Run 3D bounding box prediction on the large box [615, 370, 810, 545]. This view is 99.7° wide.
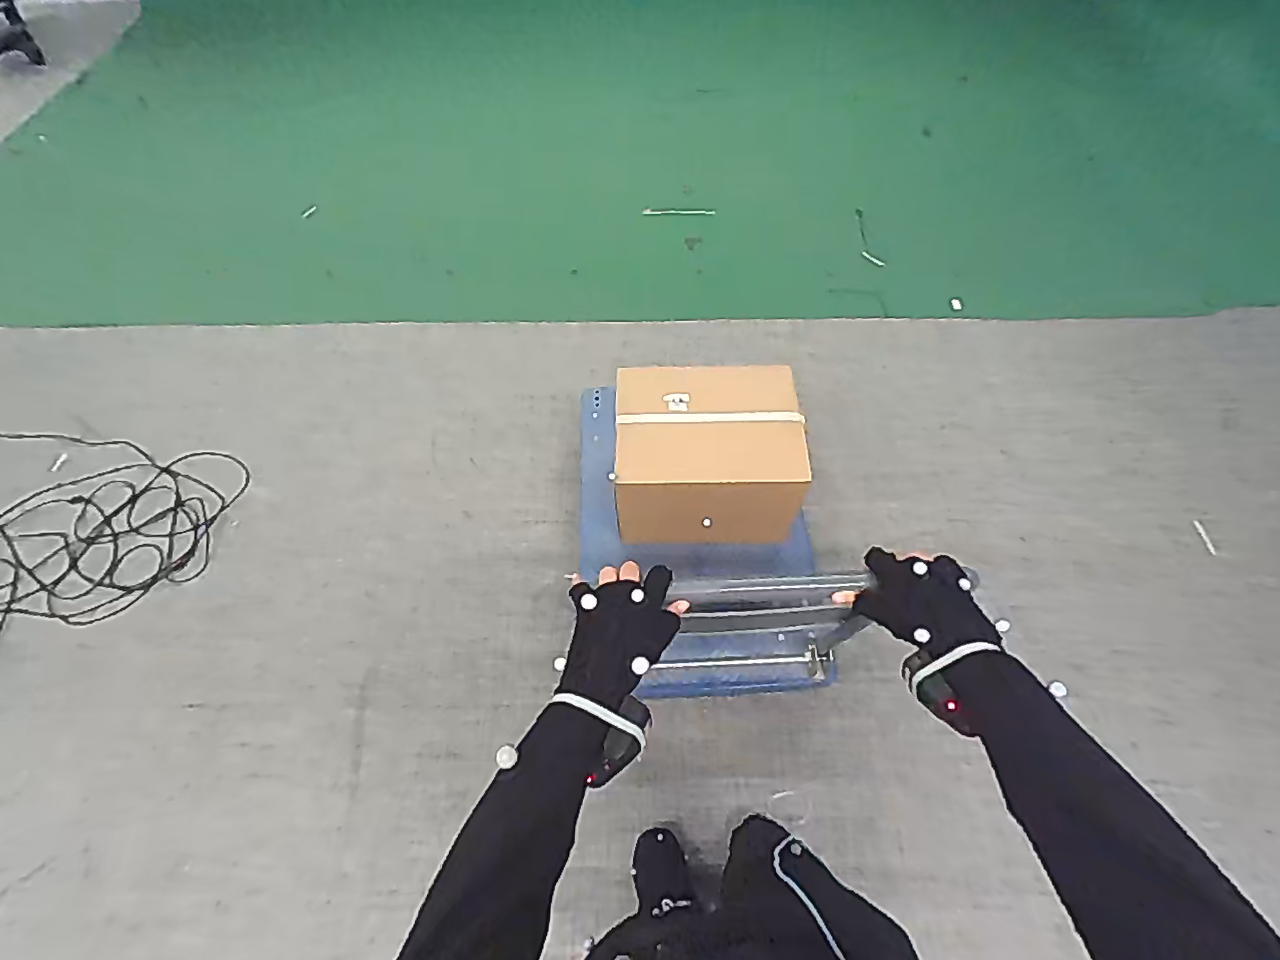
[{"bbox_3d":[0.154,-0.044,1.301,0.408,0.320,0.320,-1,60,2],"label":"large box"}]
